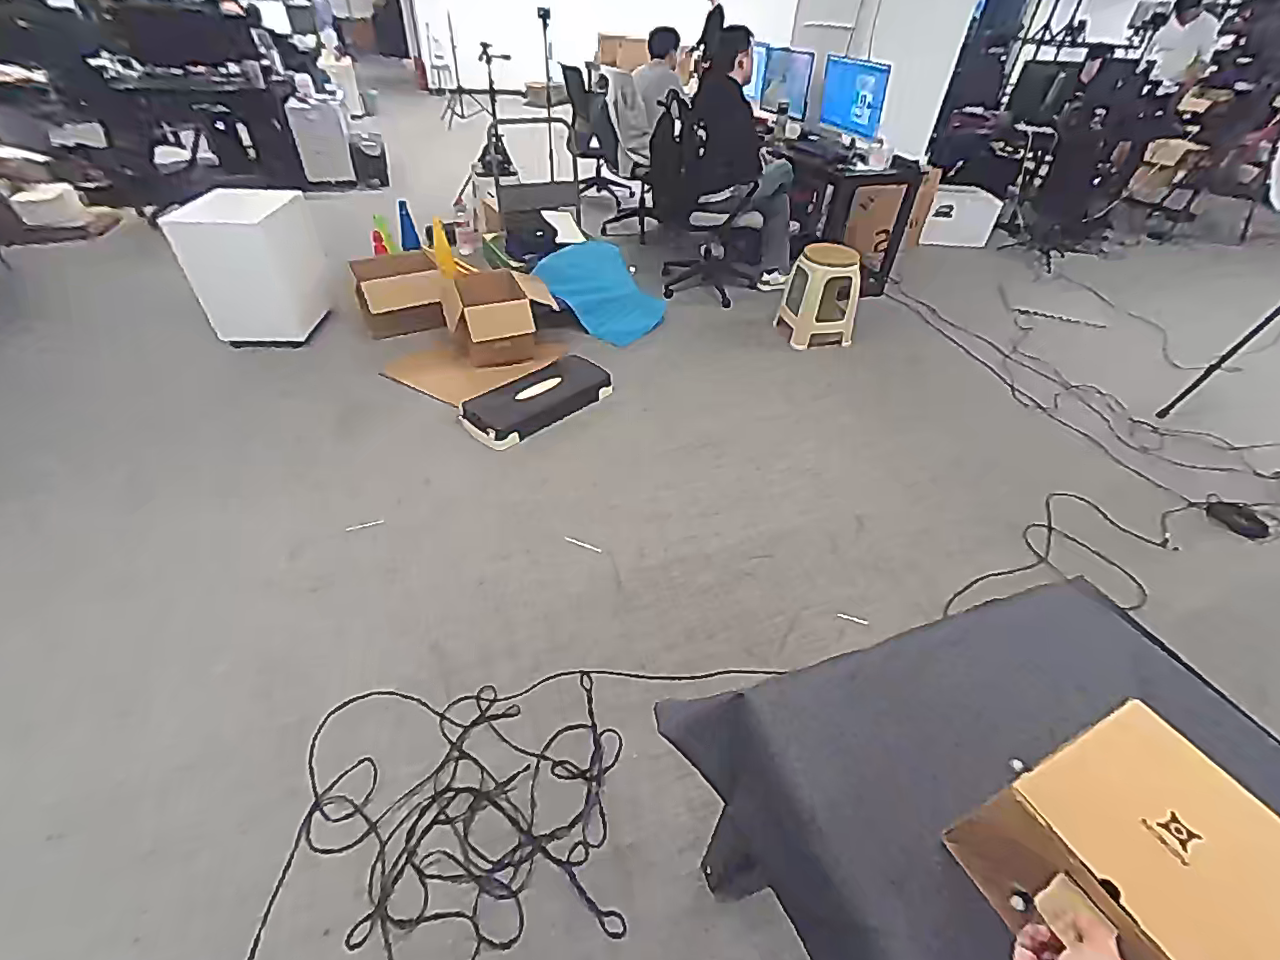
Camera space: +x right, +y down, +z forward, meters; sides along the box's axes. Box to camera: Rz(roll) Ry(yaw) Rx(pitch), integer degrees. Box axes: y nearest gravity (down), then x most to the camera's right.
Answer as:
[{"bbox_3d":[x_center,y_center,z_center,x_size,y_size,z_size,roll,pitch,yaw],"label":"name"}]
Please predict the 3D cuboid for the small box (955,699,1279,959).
[{"bbox_3d":[0.433,0.340,0.491,0.179,0.176,0.168,-20,47,-18],"label":"small box"}]
